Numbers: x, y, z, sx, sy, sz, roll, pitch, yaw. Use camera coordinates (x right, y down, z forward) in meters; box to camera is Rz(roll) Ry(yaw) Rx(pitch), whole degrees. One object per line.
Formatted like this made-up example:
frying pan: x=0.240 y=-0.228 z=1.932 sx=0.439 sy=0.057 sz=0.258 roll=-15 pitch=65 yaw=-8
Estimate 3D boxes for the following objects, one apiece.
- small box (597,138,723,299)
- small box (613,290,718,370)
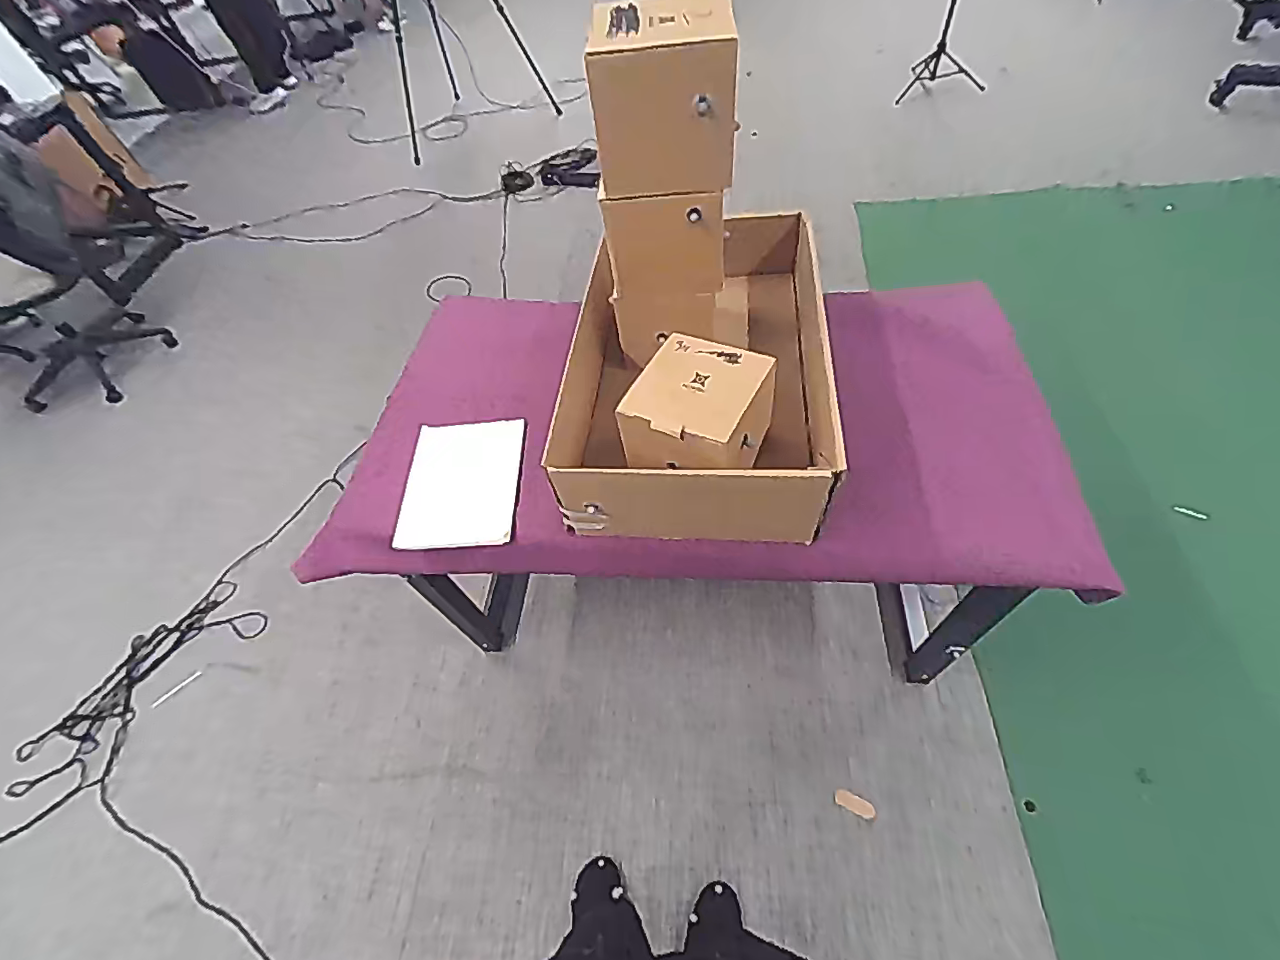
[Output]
small box: x=0.041 y=-0.404 z=0.851 sx=0.179 sy=0.176 sz=0.168 roll=-1 pitch=56 yaw=7
small box: x=0.055 y=-0.316 z=0.986 sx=0.168 sy=0.176 sz=0.179 roll=1 pitch=57 yaw=9
